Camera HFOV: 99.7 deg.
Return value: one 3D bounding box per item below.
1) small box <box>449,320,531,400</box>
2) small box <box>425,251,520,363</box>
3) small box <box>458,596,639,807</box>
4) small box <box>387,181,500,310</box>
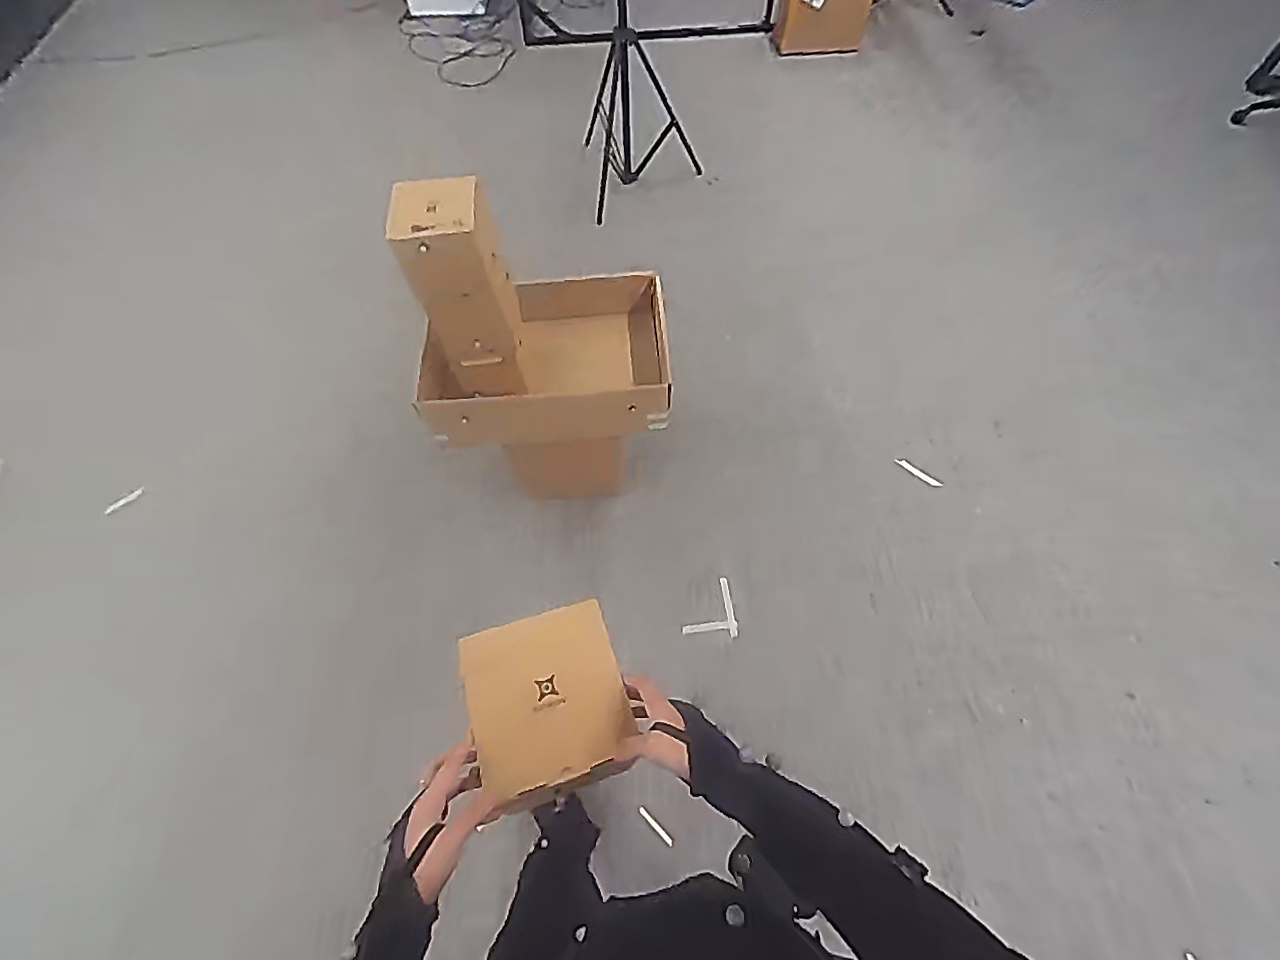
[{"bbox_3d":[-0.380,-0.322,1.400,0.168,0.176,0.179,-6,60,-1],"label":"small box"},{"bbox_3d":[-0.379,-0.398,1.254,0.168,0.176,0.179,-7,62,-1],"label":"small box"},{"bbox_3d":[-0.111,0.269,0.652,0.168,0.176,0.179,-14,60,-14],"label":"small box"},{"bbox_3d":[-0.392,-0.477,1.110,0.168,0.176,0.179,-7,60,-1],"label":"small box"}]
